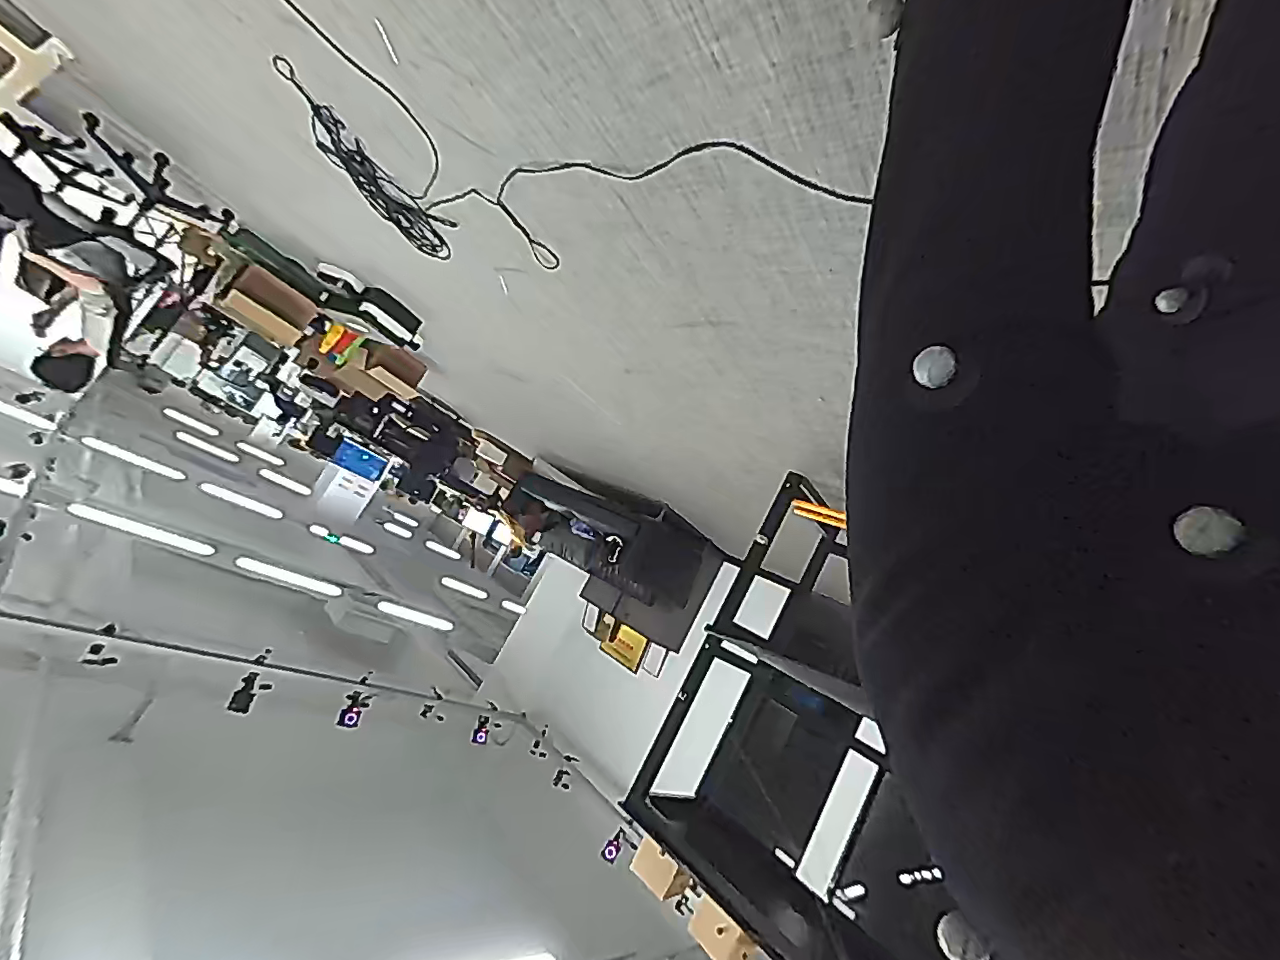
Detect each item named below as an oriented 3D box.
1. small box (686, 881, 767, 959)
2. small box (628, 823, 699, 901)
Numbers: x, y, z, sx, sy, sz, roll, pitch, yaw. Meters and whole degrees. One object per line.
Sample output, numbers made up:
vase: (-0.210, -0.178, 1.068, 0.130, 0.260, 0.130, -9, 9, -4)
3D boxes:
small box: (0.289, 1.471, 1.794, 0.179, 0.176, 0.168, 37, 168, -39)
small box: (0.094, 1.407, 2.004, 0.168, 0.176, 0.179, 20, 166, 39)
